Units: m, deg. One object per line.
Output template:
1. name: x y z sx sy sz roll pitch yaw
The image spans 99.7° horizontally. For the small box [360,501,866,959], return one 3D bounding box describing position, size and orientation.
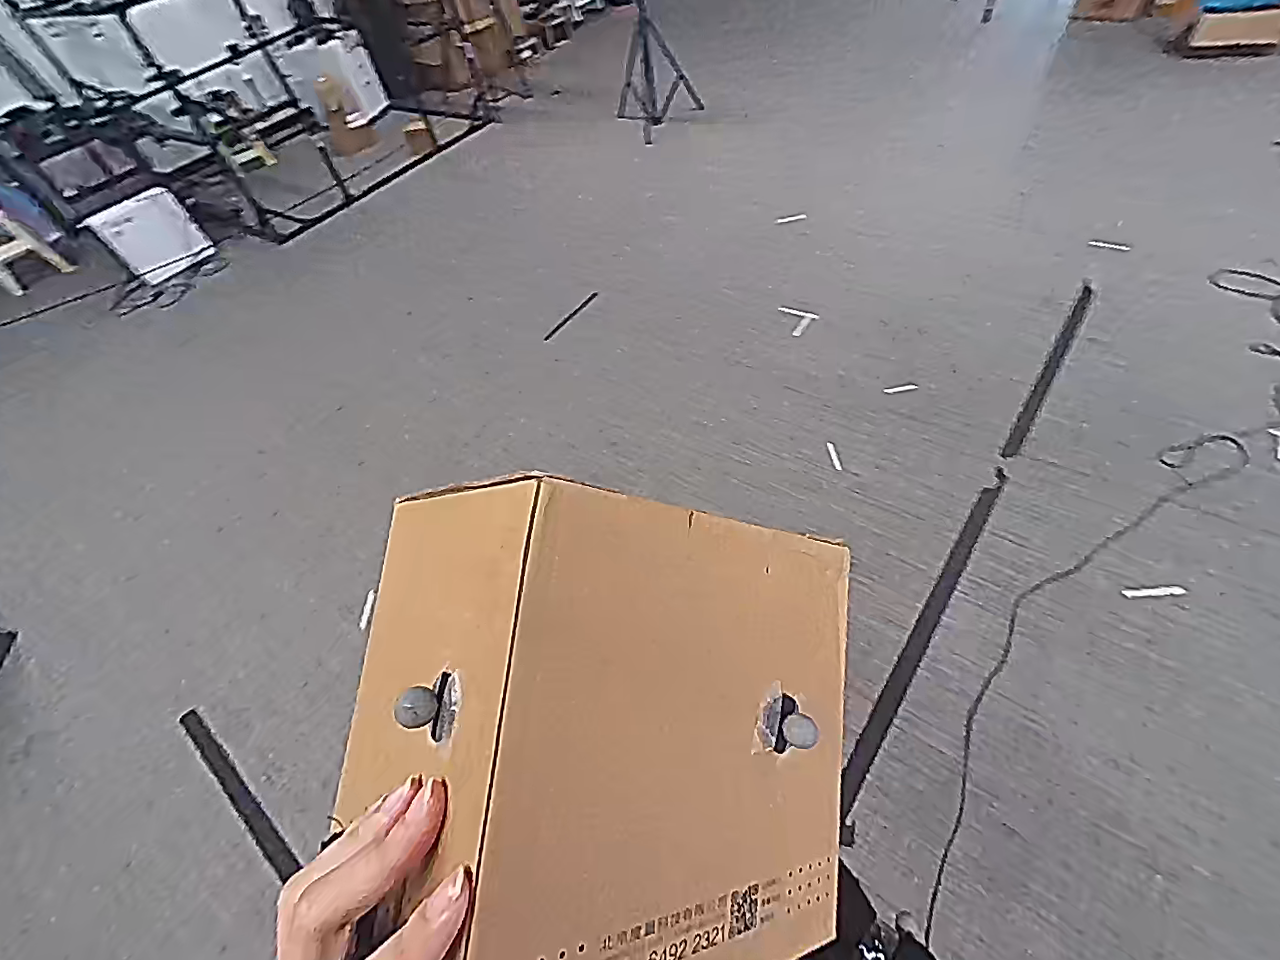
1. small box: -0.018 0.109 0.260 0.179 0.168 0.176 -8 72 54
